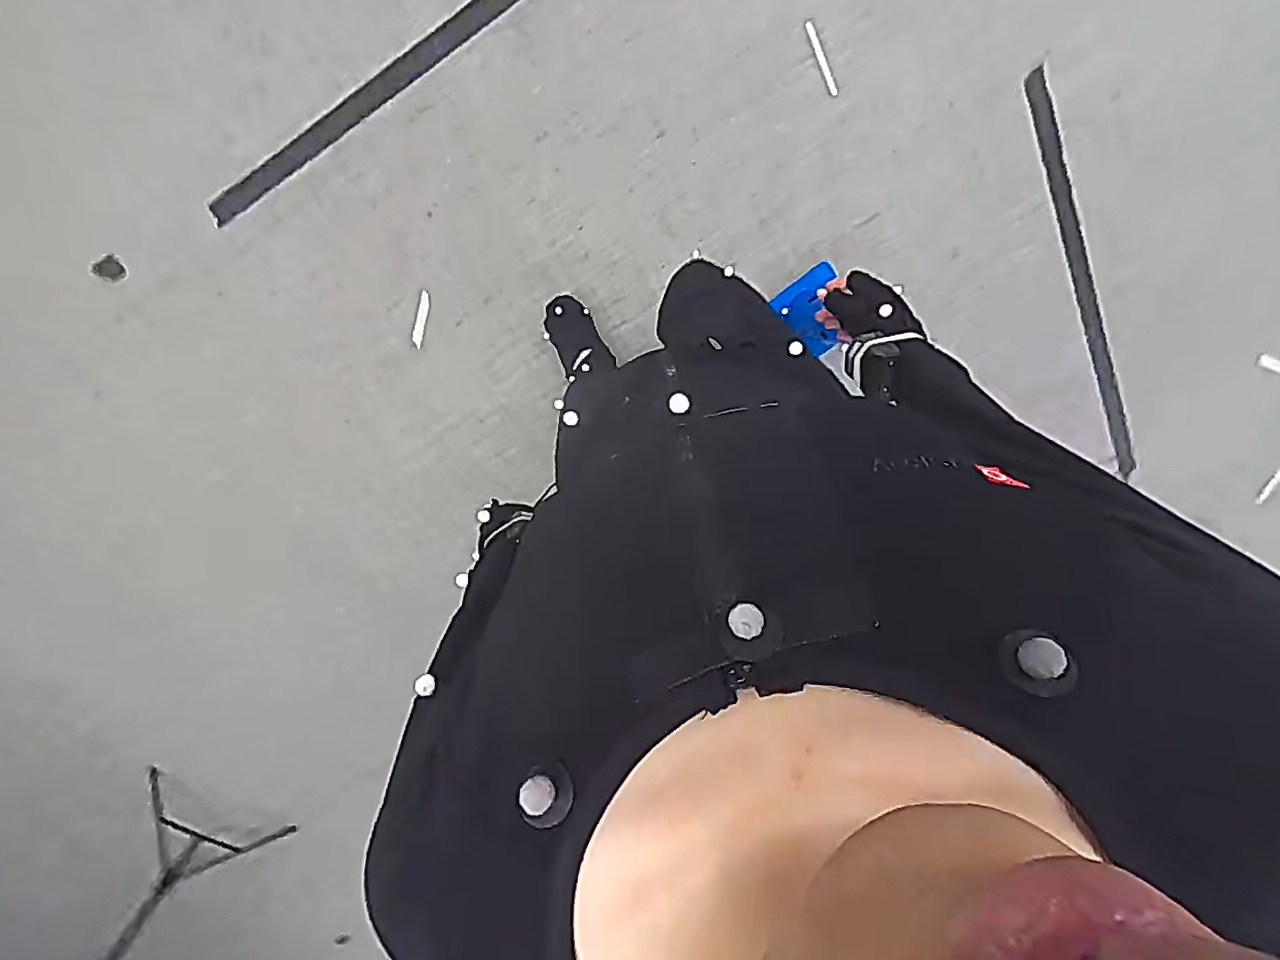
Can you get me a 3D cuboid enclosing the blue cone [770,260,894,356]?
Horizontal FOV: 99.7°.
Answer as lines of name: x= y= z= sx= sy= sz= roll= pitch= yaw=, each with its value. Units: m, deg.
blue cone: x=0.452 y=-0.372 z=1.213 sx=0.192 sy=0.380 sz=0.193 roll=-36 pitch=109 yaw=10
